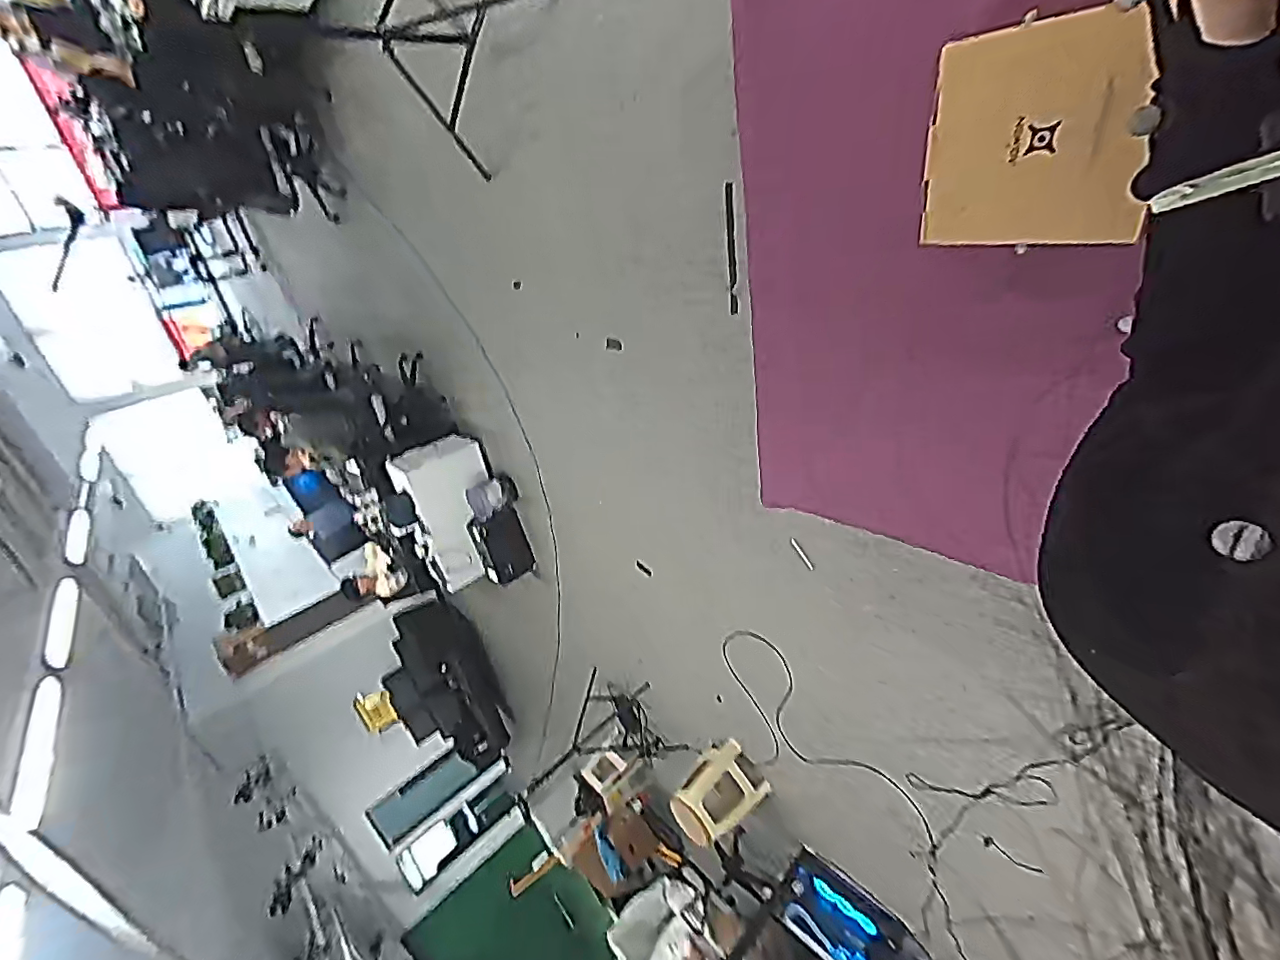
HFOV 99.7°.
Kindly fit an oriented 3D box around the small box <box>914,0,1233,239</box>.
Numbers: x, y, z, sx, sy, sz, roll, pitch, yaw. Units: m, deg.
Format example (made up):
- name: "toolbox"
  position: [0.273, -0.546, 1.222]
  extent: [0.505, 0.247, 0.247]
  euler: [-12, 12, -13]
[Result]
- name: "small box"
  position: [0.384, -0.323, 0.495]
  extent: [0.179, 0.176, 0.168]
  euler: [22, 132, 42]
